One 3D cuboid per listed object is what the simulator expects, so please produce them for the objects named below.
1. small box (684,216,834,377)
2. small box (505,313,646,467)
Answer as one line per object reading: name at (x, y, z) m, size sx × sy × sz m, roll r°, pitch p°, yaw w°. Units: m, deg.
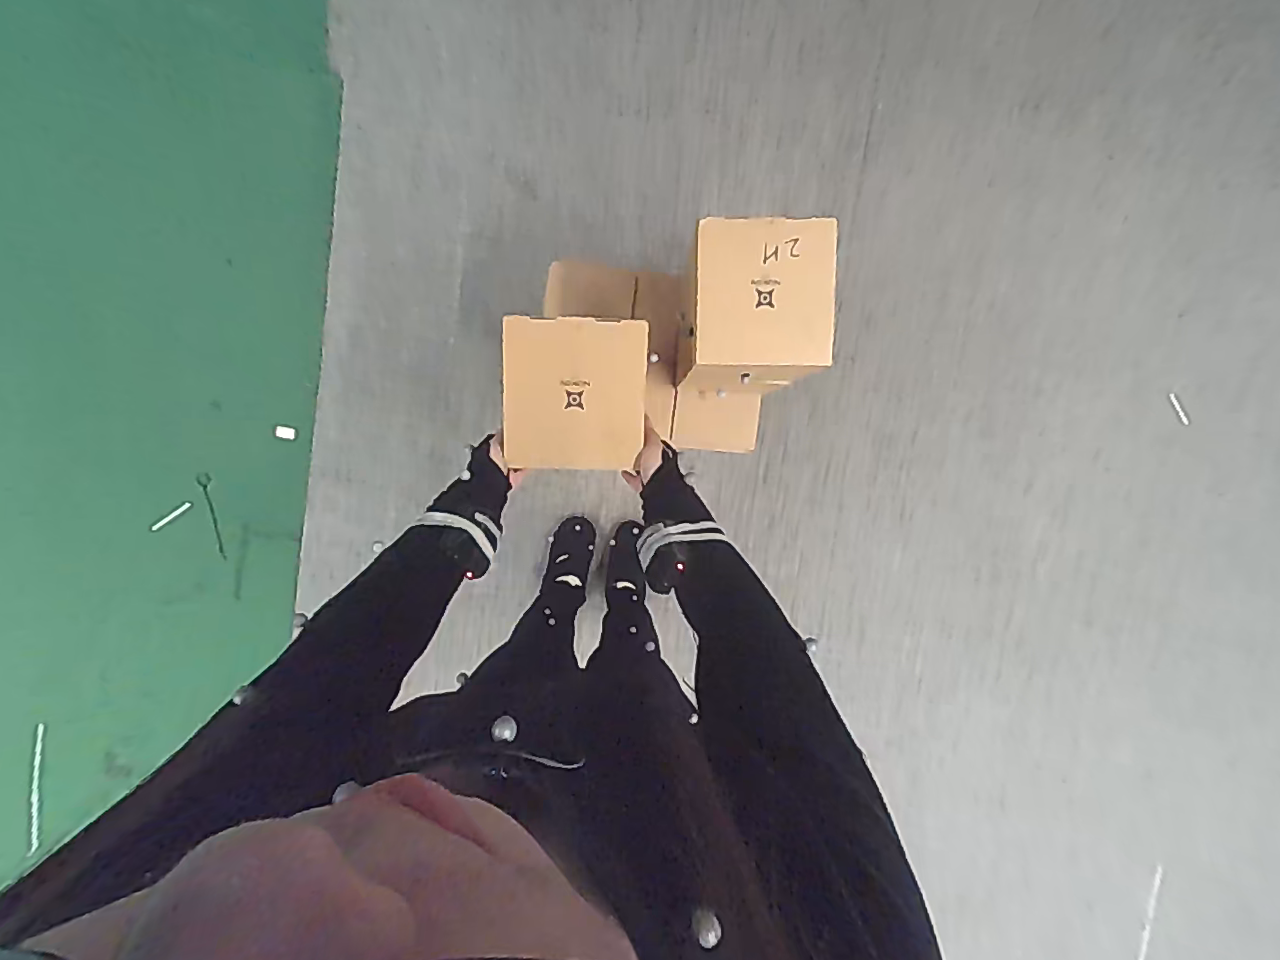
small box at (0.149, -0.235, 0.734) m, size 0.168 × 0.176 × 0.179 m, roll 1°, pitch 95°, yaw 0°
small box at (-0.080, -0.117, 0.715) m, size 0.168 × 0.176 × 0.179 m, roll 1°, pitch 99°, yaw -3°
